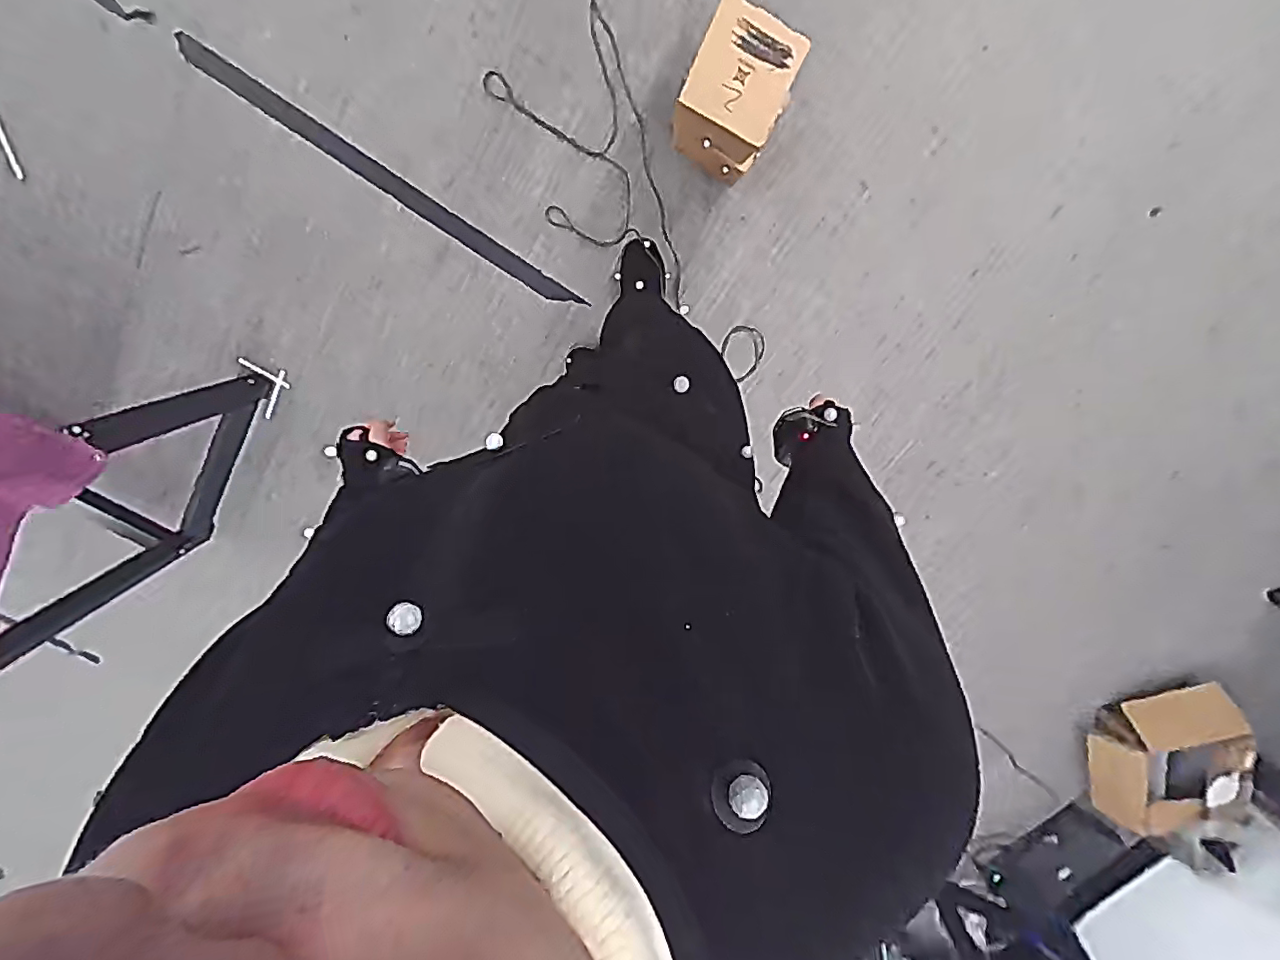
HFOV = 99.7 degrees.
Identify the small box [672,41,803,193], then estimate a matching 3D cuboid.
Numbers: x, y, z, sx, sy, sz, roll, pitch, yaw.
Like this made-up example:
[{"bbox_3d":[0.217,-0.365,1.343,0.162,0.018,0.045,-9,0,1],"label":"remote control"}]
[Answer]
[{"bbox_3d":[0.199,-0.736,1.112,0.168,0.176,0.179,22,93,-28],"label":"small box"}]
